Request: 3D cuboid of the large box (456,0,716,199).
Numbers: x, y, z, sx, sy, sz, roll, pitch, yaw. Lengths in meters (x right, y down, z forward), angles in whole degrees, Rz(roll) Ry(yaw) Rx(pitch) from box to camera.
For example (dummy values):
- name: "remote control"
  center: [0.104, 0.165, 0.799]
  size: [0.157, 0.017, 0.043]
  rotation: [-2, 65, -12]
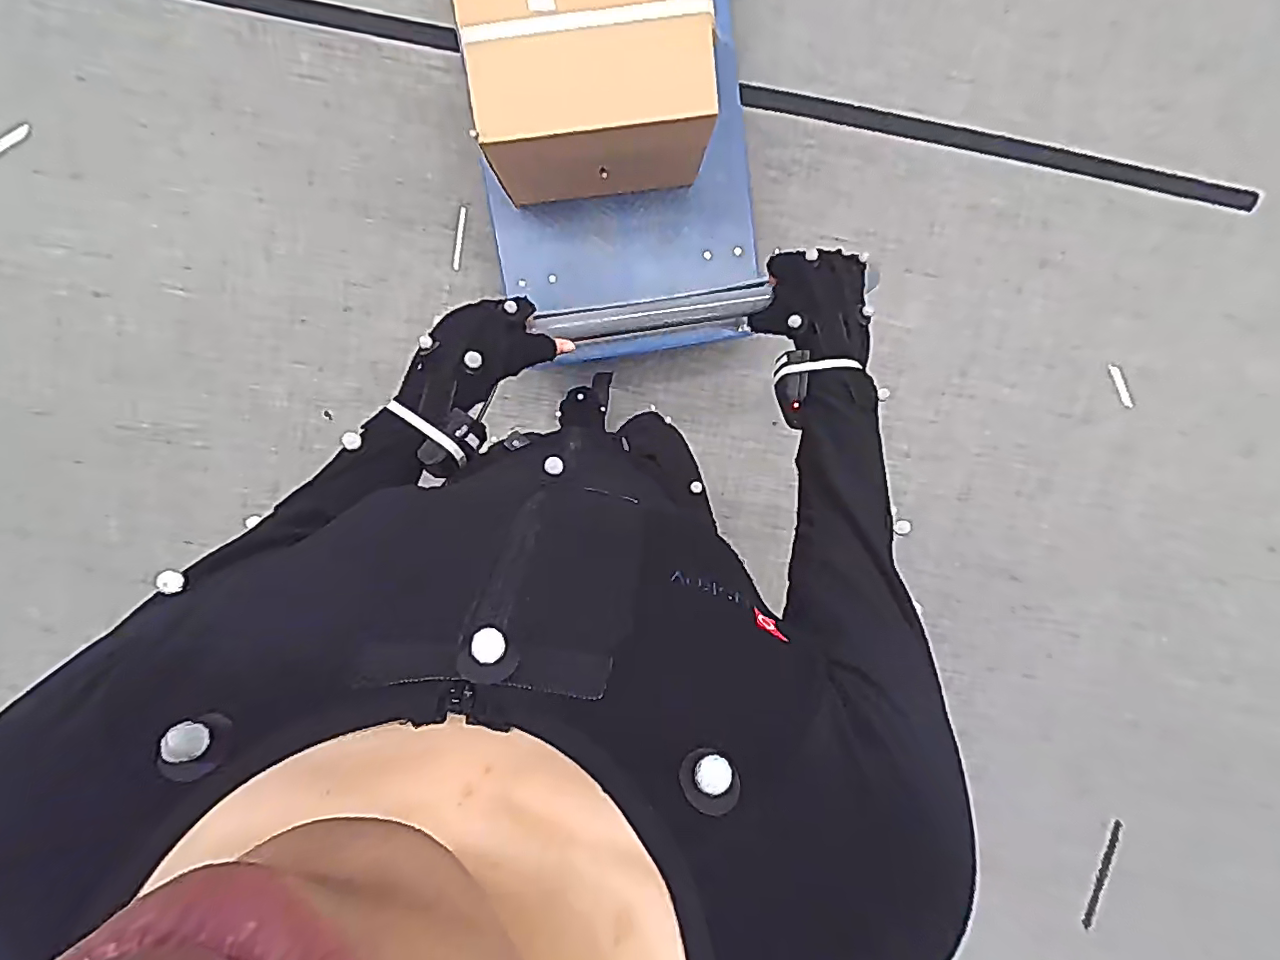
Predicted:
- name: "large box"
  center: [-0.092, -0.762, 1.017]
  size: [0.408, 0.320, 0.320]
  rotation: [-8, 100, 0]

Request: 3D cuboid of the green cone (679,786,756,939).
- name: "green cone"
  center: [0.241, 1.055, 1.467]
  size: [0.202, 0.368, 0.200]
  rotation: [13, 98, -6]
